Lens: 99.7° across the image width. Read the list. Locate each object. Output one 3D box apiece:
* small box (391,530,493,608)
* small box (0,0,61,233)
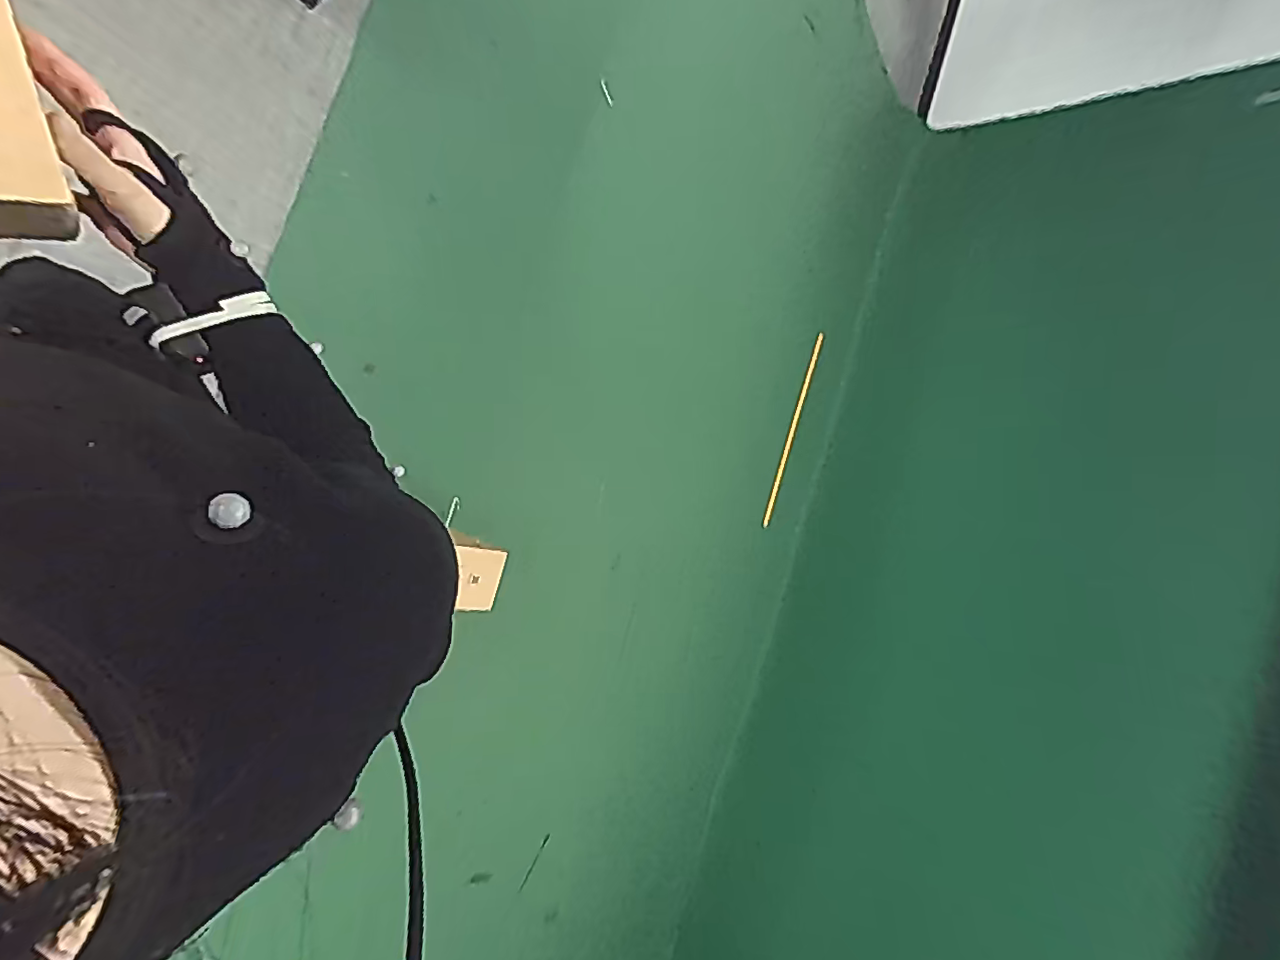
[{"bbox_3d":[-0.535,0.239,1.461,0.179,0.176,0.168,20,85,-51],"label":"small box"},{"bbox_3d":[-0.442,-0.236,0.281,0.168,0.176,0.179,-17,112,-43],"label":"small box"}]
